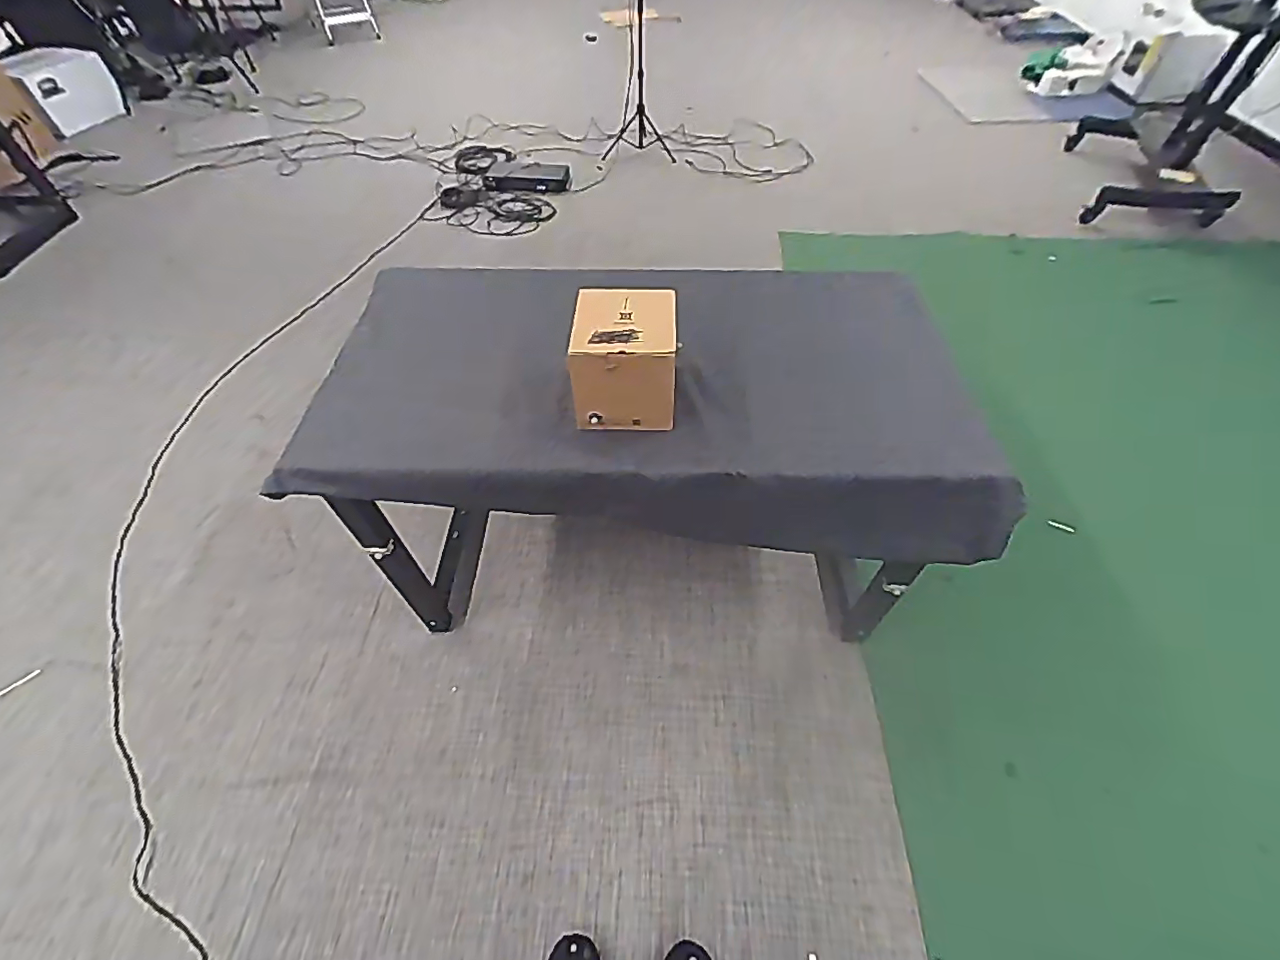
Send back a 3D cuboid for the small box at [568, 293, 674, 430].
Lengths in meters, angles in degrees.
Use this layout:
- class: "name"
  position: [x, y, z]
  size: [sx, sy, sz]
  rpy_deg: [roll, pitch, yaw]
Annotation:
- class: "small box"
  position: [-0.025, -0.203, 0.940]
  size: [0.168, 0.176, 0.179]
  rpy_deg: [2, 51, 1]
